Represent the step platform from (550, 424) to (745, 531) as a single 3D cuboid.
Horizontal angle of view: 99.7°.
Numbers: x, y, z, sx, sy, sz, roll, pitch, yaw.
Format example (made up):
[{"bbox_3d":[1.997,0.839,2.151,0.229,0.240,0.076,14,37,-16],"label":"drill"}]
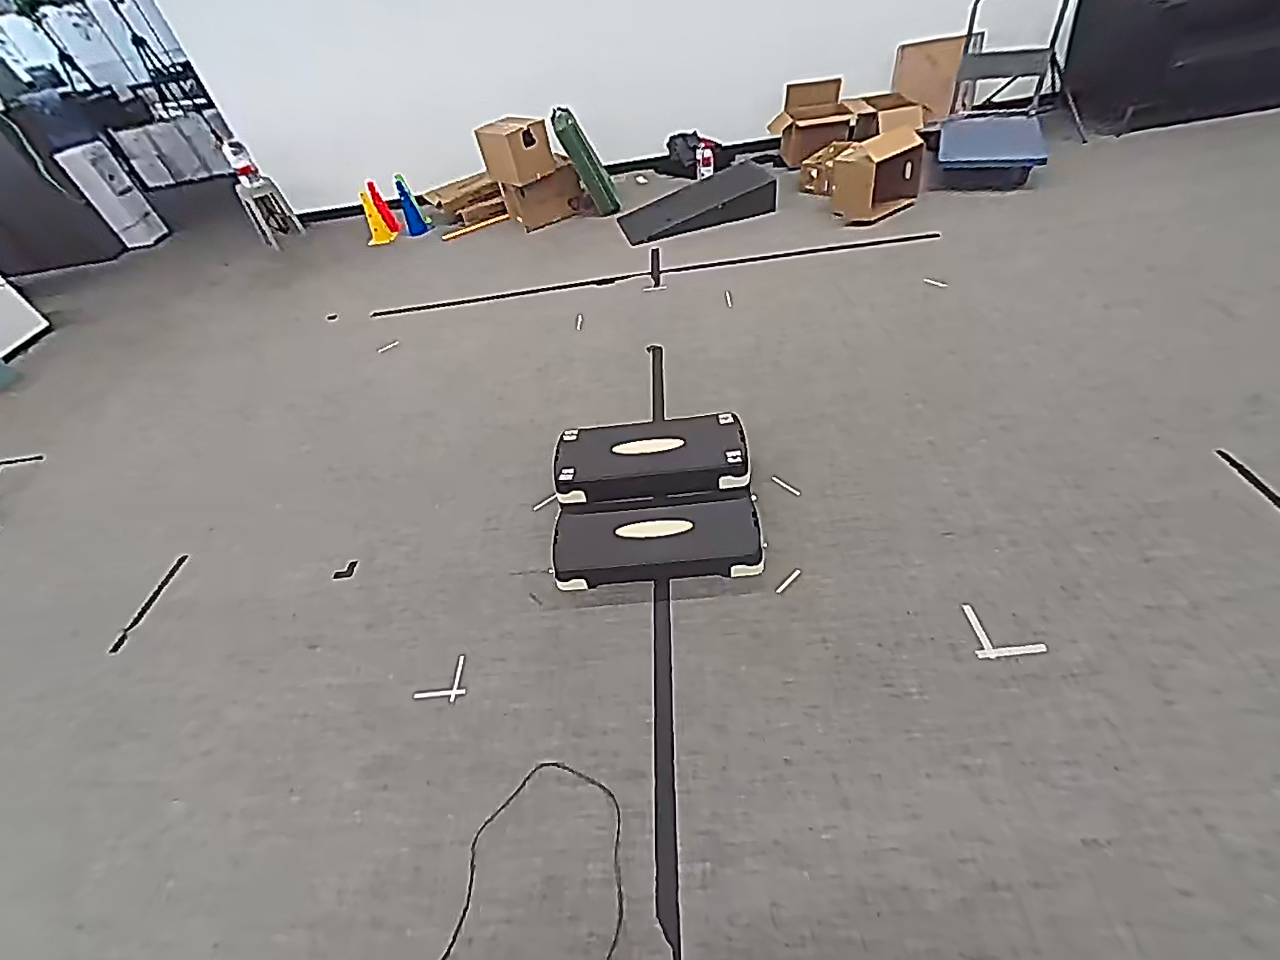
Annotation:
[{"bbox_3d":[0.024,-0.013,1.922,0.684,0.204,0.286,-6,46,4],"label":"step platform"}]
